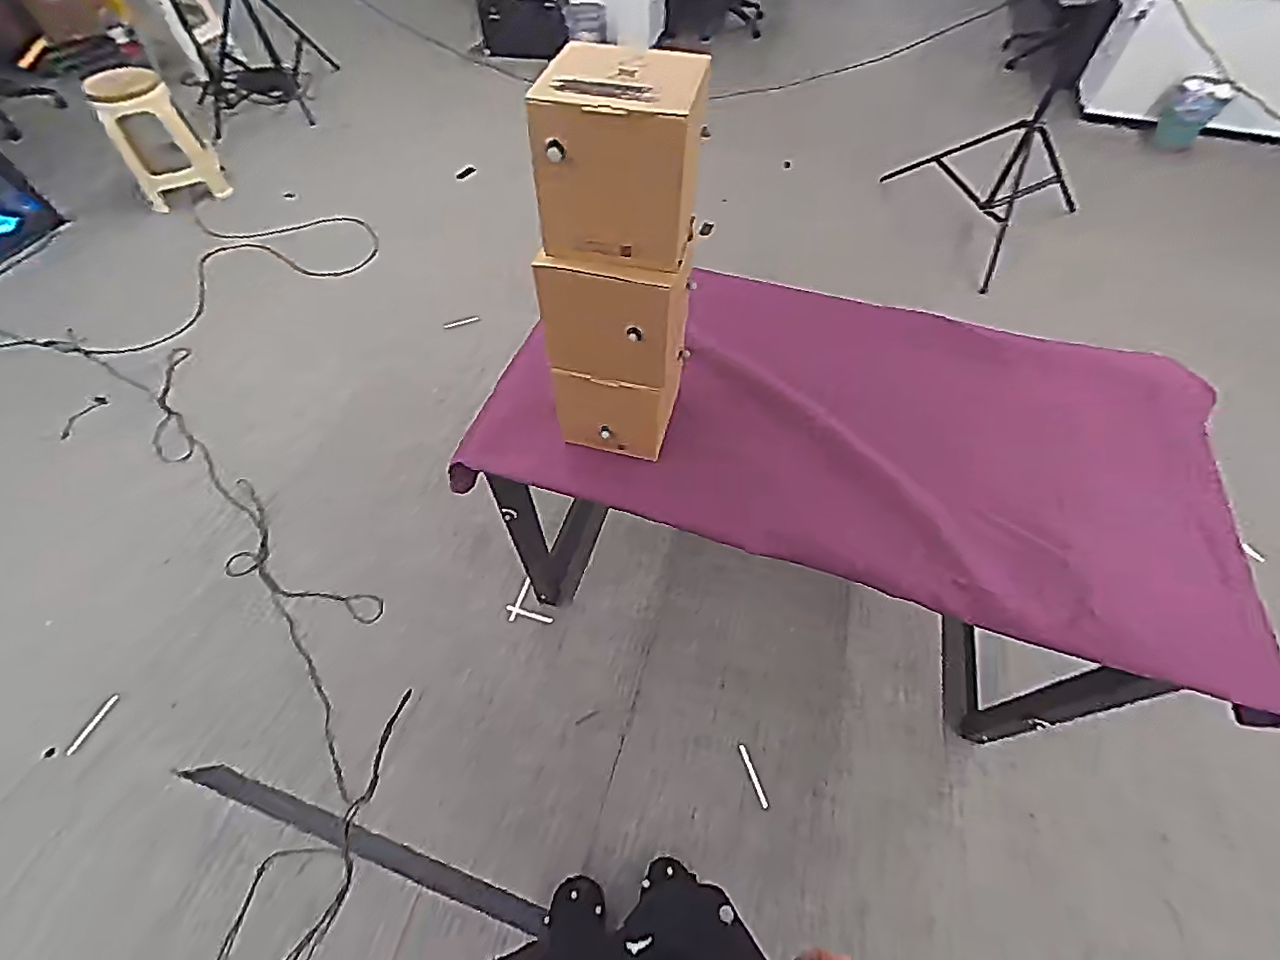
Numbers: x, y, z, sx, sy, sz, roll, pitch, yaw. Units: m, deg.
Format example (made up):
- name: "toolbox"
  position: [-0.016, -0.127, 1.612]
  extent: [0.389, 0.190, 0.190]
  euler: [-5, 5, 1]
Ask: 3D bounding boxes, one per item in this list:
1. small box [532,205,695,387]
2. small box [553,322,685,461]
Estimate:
- name: "small box"
  position: [-0.030, -0.253, 0.758]
  extent: [0.179, 0.176, 0.168]
  euler: [11, 55, 8]
- name: "small box"
  position: [-0.030, -0.160, 0.891]
  extent: [0.168, 0.176, 0.179]
  euler: [13, 57, 8]
